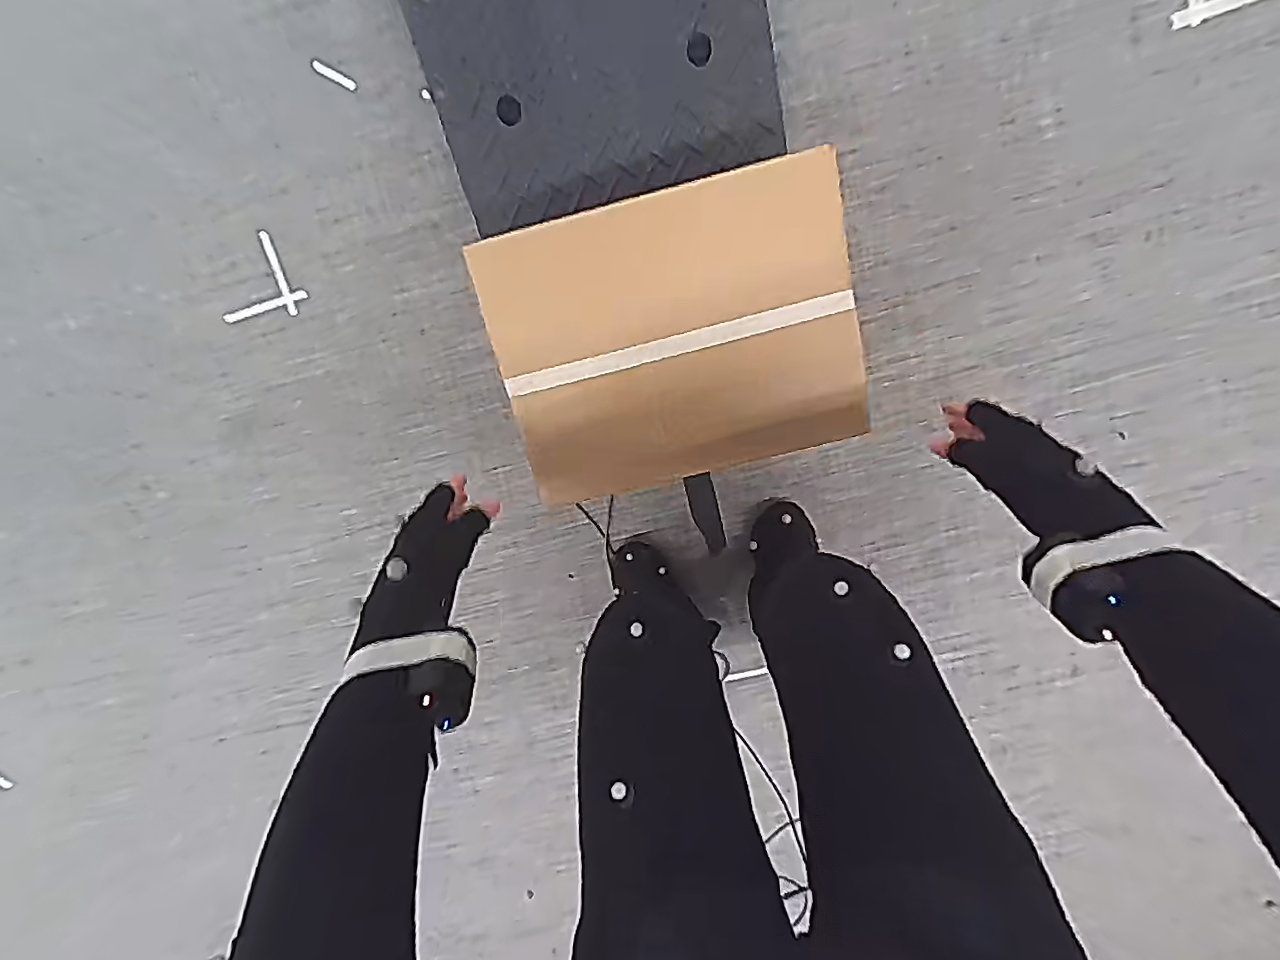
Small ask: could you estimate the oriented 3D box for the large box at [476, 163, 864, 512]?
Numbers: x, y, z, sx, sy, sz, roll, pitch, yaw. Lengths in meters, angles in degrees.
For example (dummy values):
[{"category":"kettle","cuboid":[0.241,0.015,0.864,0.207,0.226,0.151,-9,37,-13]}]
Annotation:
[{"category":"large box","cuboid":[0.046,-0.191,0.771,0.408,0.320,0.320,-14,105,5]}]
